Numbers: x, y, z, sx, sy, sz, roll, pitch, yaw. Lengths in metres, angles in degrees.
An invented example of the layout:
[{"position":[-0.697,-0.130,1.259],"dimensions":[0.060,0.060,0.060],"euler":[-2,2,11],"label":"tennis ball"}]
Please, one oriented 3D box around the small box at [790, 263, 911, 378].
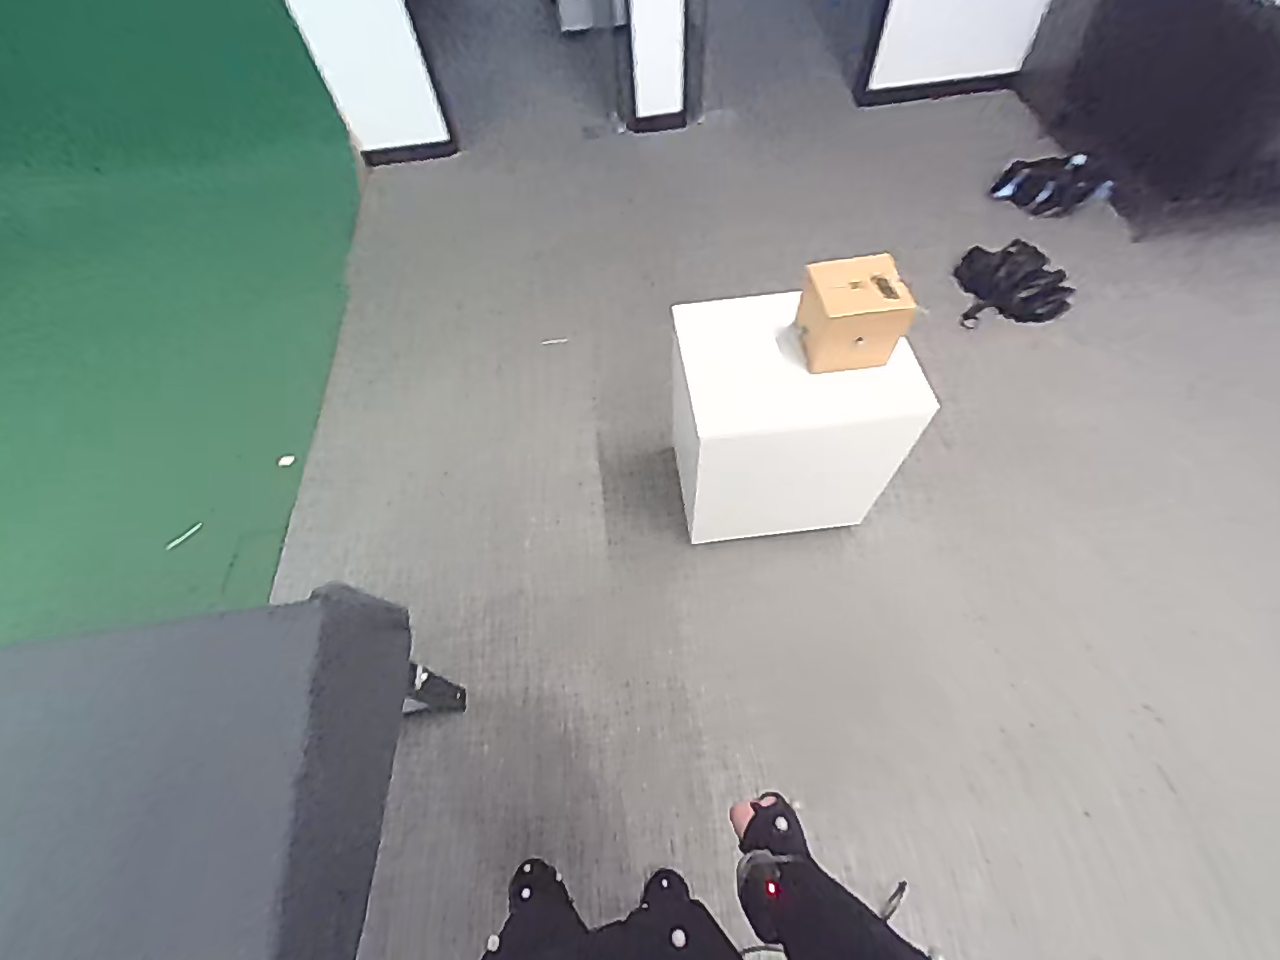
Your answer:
[{"position":[0.444,-0.341,1.170],"dimensions":[0.179,0.176,0.168],"euler":[-6,59,-2],"label":"small box"}]
